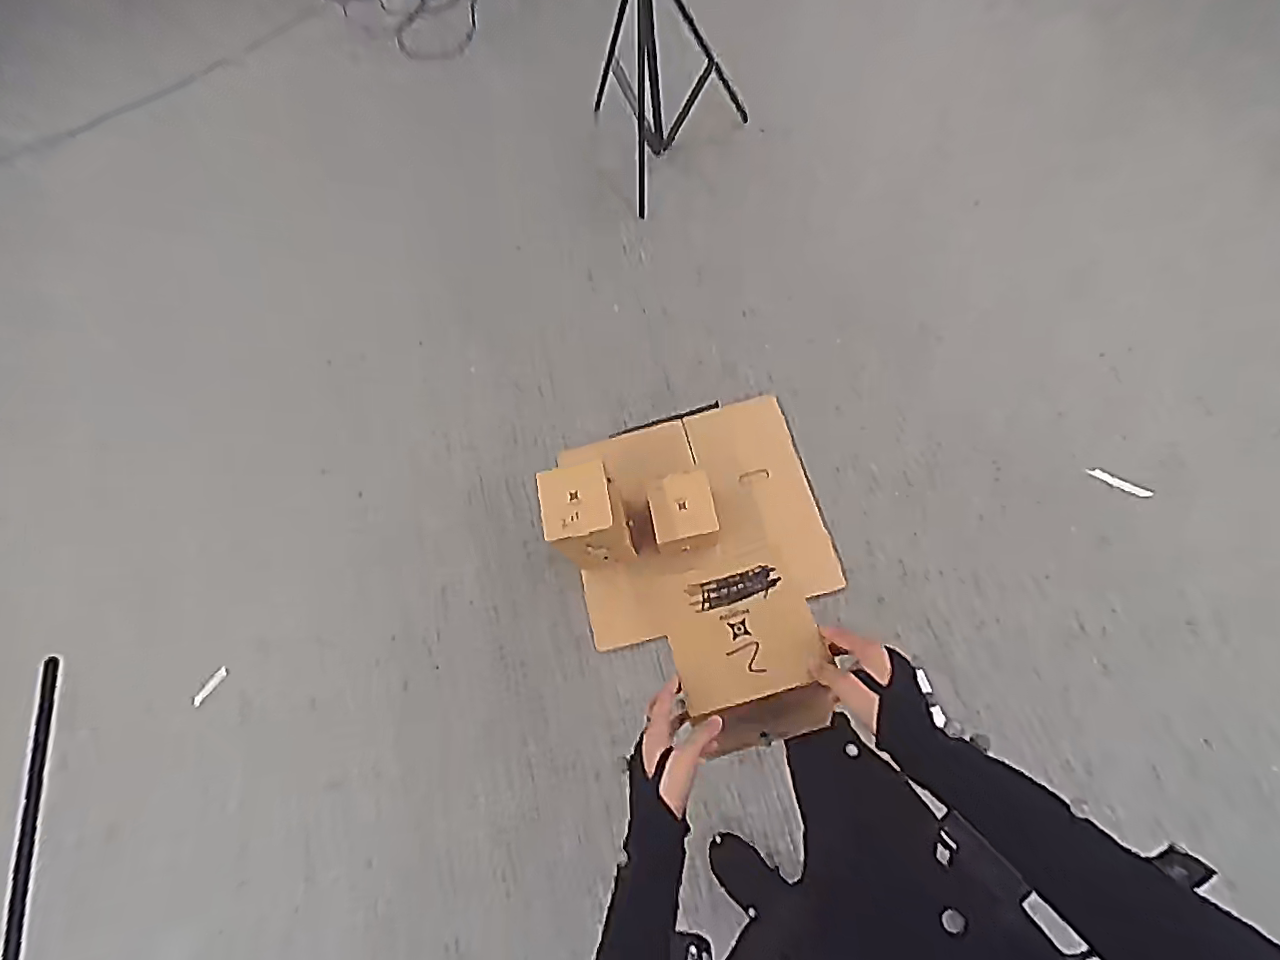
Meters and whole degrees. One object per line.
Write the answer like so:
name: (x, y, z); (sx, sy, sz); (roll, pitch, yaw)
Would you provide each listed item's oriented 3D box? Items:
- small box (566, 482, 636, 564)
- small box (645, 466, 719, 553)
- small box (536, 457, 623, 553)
small box: (-0.114, 0.125, 1.477); (0.168, 0.176, 0.179); (-13, 71, 3)
small box: (0.113, 0.085, 1.462); (0.168, 0.176, 0.179); (-12, 70, 3)
small box: (-0.145, 0.067, 1.324); (0.168, 0.176, 0.179); (-13, 70, 4)
